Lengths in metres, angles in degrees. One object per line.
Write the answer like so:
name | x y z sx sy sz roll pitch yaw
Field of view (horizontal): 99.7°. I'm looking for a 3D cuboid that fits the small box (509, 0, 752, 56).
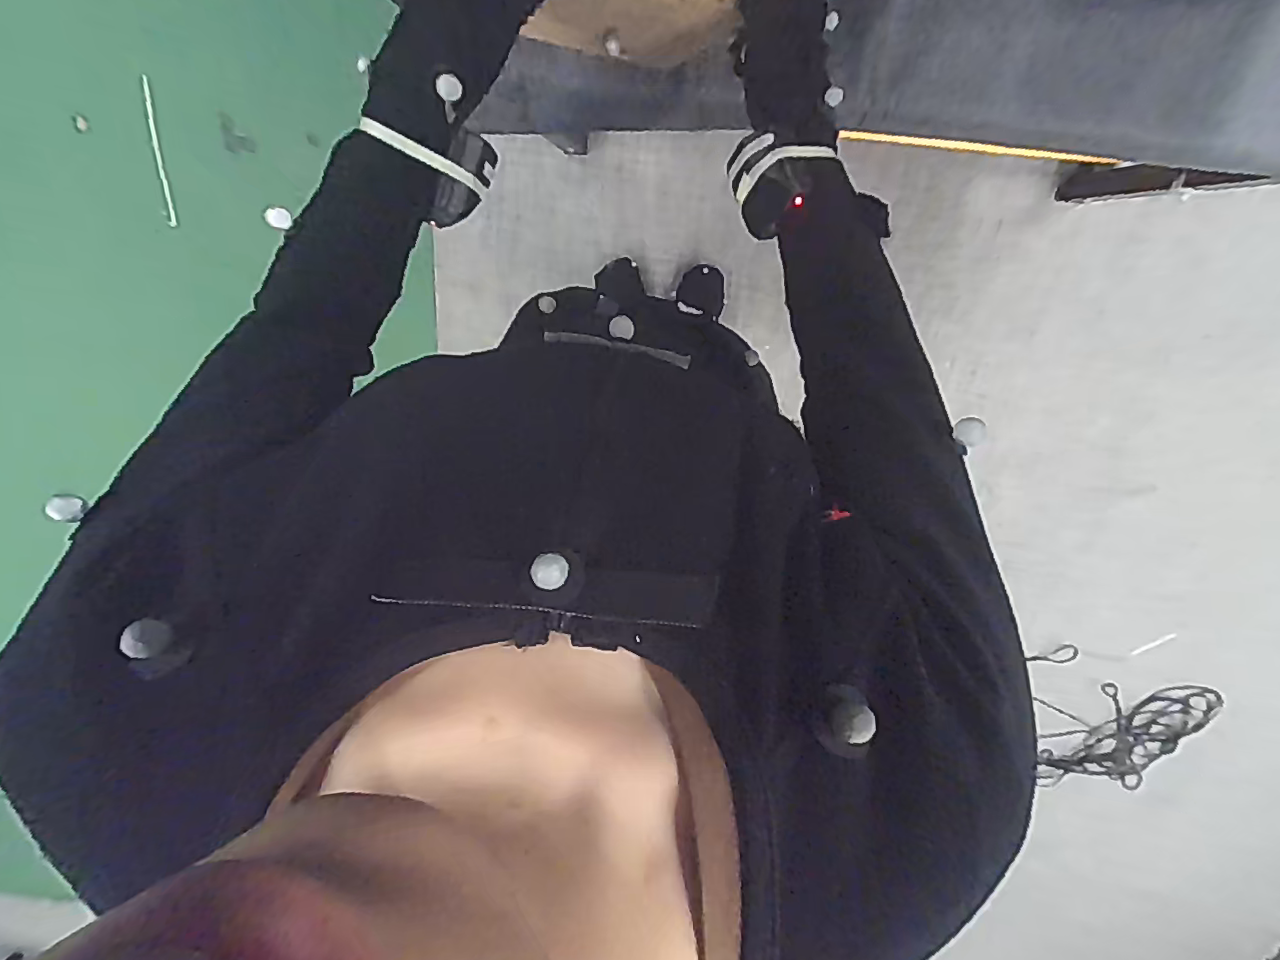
small box | -0.008 -0.460 0.402 0.168 0.176 0.179 -5 114 -23
